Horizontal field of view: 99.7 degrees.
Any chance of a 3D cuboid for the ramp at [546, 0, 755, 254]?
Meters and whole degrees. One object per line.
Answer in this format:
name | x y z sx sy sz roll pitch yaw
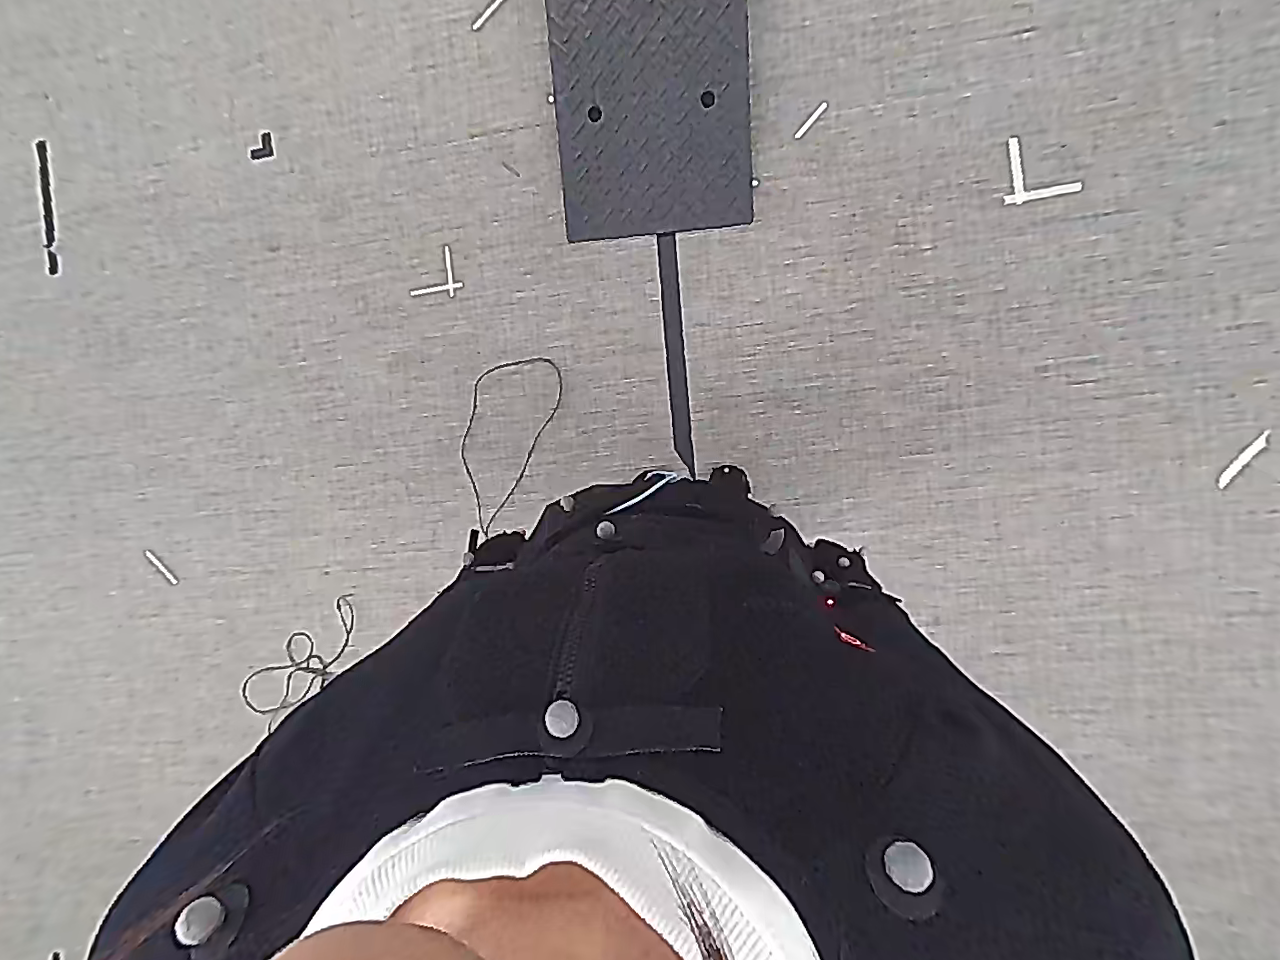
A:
ramp | 0.016 -1.120 1.347 0.509 0.206 0.991 -6 91 7
